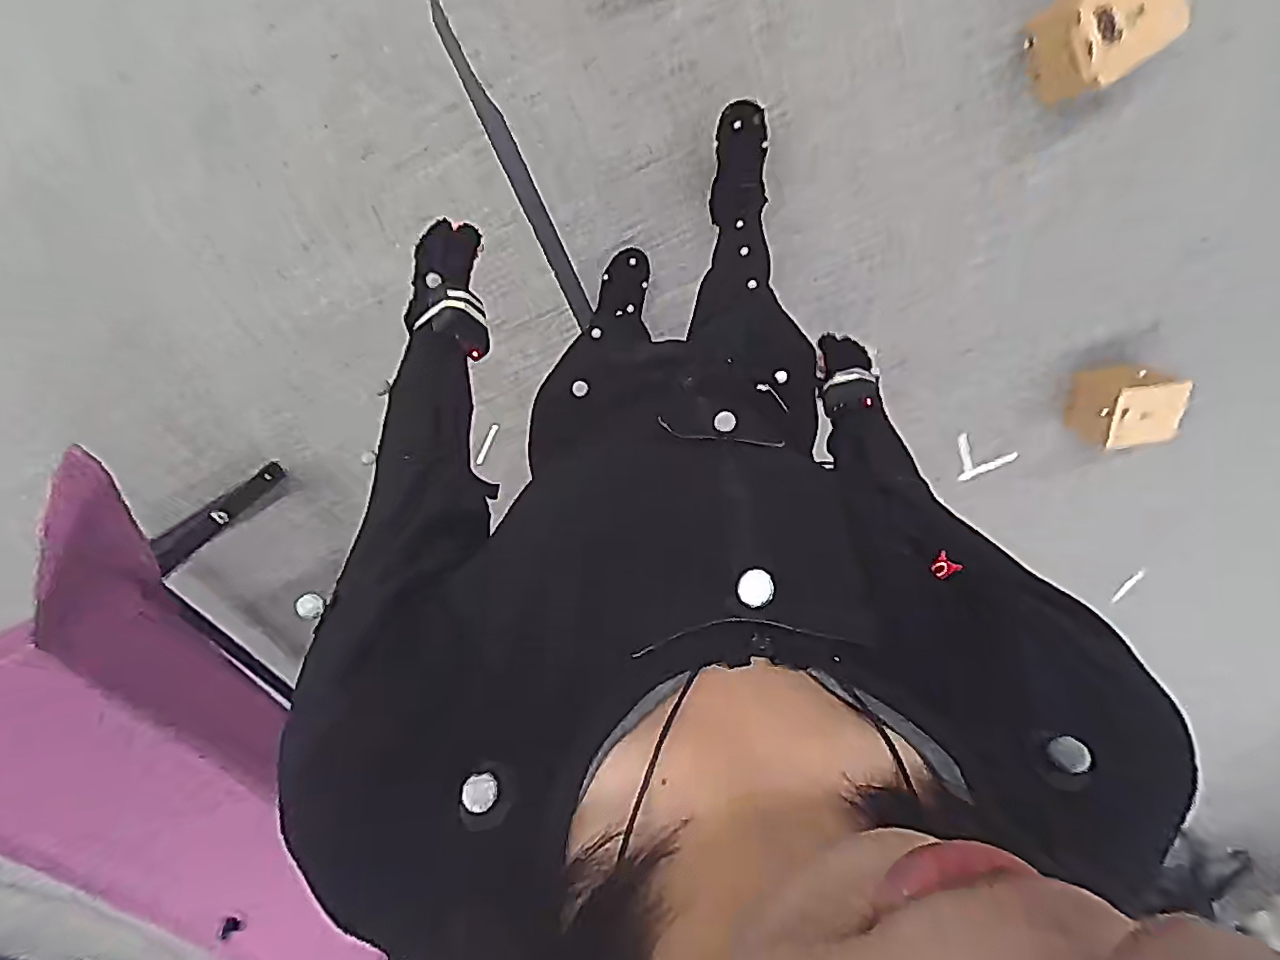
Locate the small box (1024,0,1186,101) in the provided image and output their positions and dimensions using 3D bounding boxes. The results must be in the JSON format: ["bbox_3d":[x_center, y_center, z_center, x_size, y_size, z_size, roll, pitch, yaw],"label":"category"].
[{"bbox_3d":[0.911,-0.901,1.080,0.179,0.176,0.168,-33,114,14],"label":"small box"}]

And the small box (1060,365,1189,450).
[{"bbox_3d":[1.297,-0.202,1.462,0.179,0.176,0.168,-9,118,3],"label":"small box"}]
